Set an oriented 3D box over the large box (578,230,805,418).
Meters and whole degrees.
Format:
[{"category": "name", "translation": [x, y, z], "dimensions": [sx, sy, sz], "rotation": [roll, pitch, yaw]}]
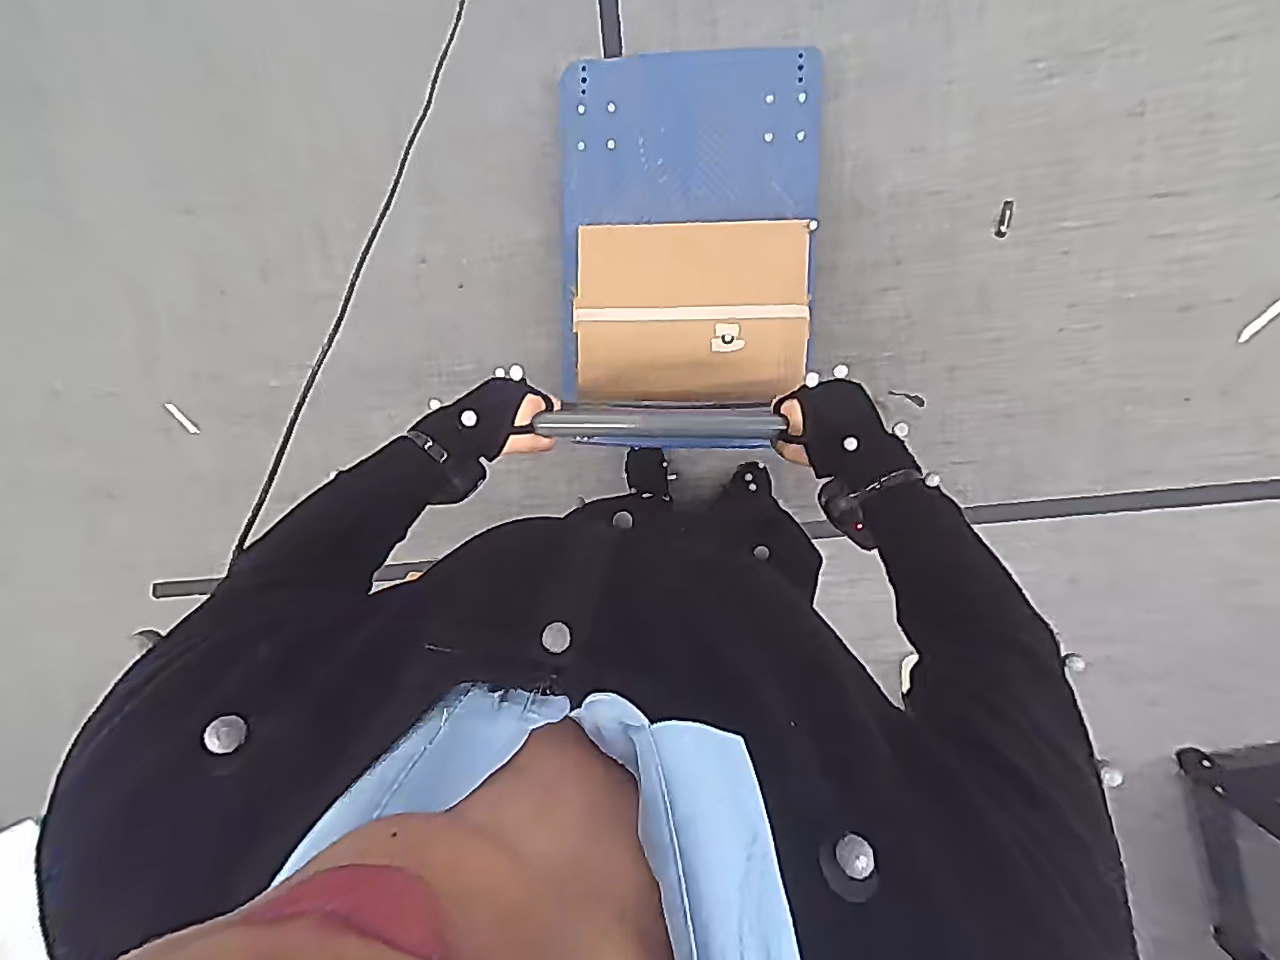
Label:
[{"category": "large box", "translation": [0.098, -0.291, 1.108], "dimensions": [0.408, 0.320, 0.320], "rotation": [1, 95, 5]}]
